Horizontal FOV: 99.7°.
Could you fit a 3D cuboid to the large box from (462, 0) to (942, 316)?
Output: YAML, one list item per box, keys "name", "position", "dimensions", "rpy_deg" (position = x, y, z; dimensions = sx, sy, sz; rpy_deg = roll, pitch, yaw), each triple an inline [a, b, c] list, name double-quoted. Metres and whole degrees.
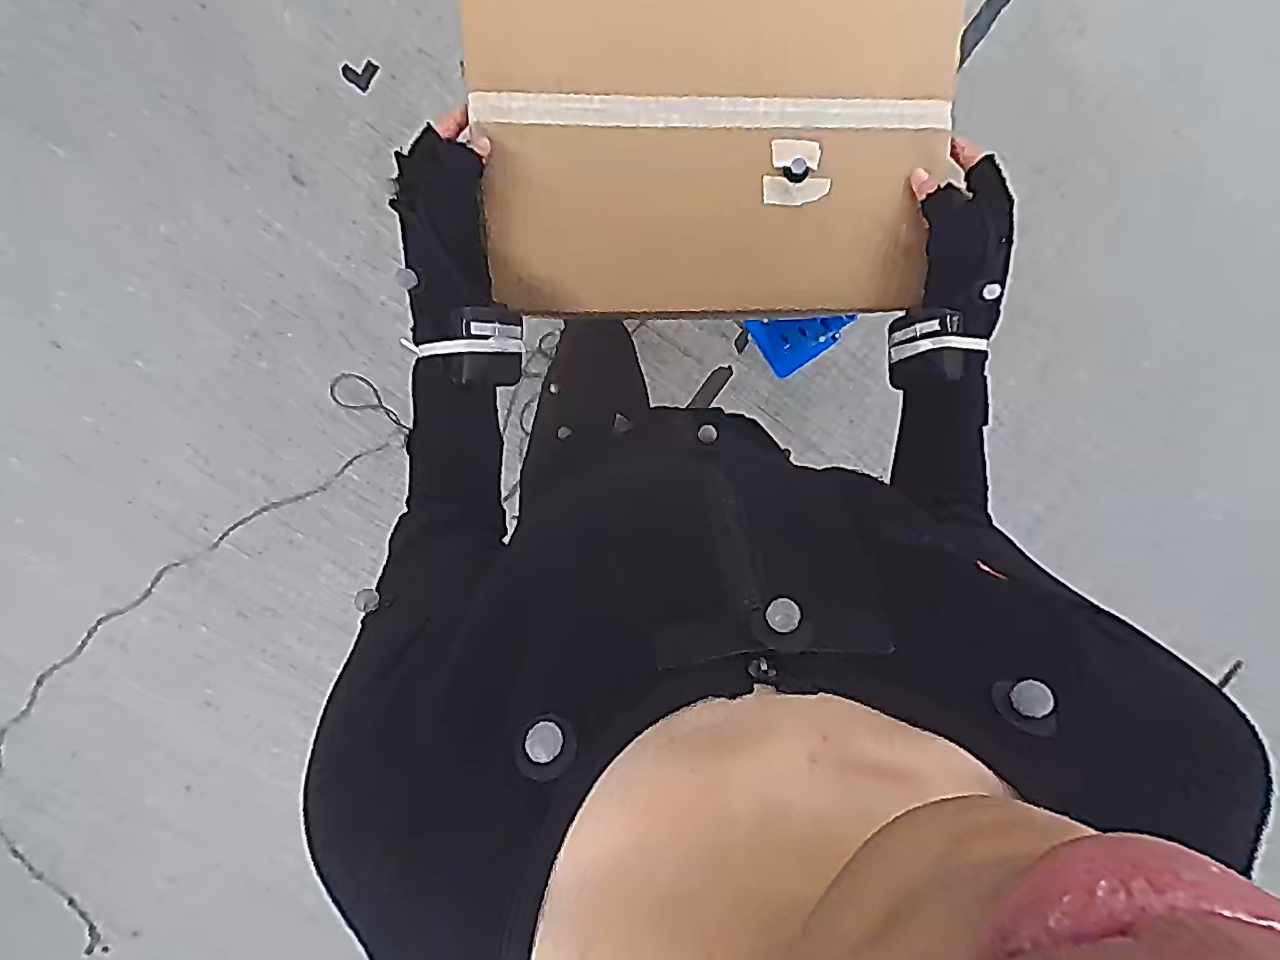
- name: "large box"
  position: [0.044, -0.357, 0.604]
  dimensions: [0.408, 0.320, 0.320]
  rpy_deg: [-2, 105, -5]

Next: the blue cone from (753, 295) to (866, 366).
- name: "blue cone"
  position: [0.419, -0.388, 1.269]
  dimensions: [0.192, 0.380, 0.193]
  rpy_deg: [-33, 100, 3]
